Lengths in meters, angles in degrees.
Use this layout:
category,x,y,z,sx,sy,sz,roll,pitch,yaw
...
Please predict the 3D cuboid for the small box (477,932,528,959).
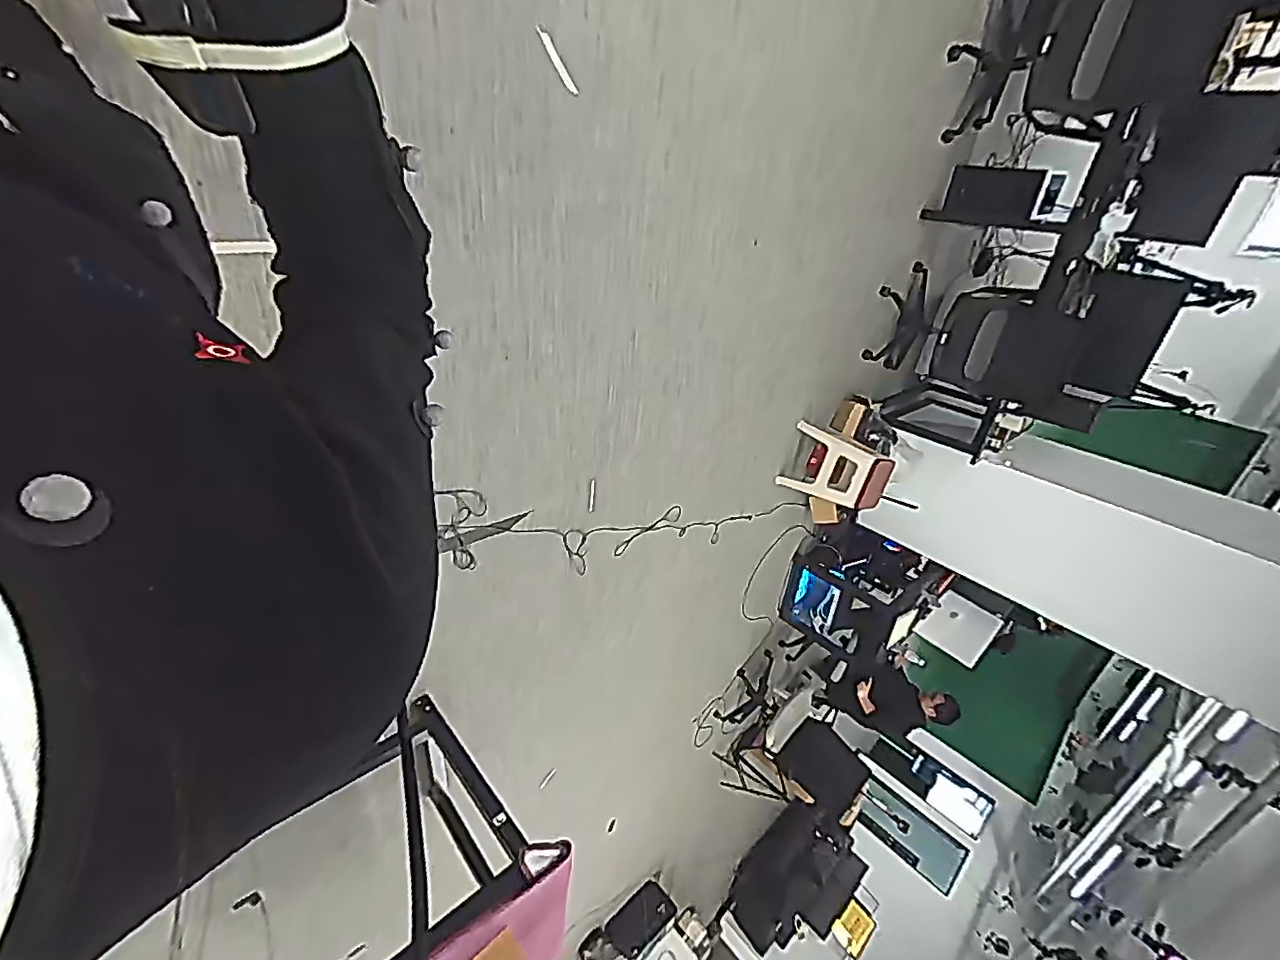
category,x,y,z,sx,sy,sz,roll,pitch,yaw
small box,-0.357,1.334,1.400,0.168,0.176,0.179,-27,131,-35
